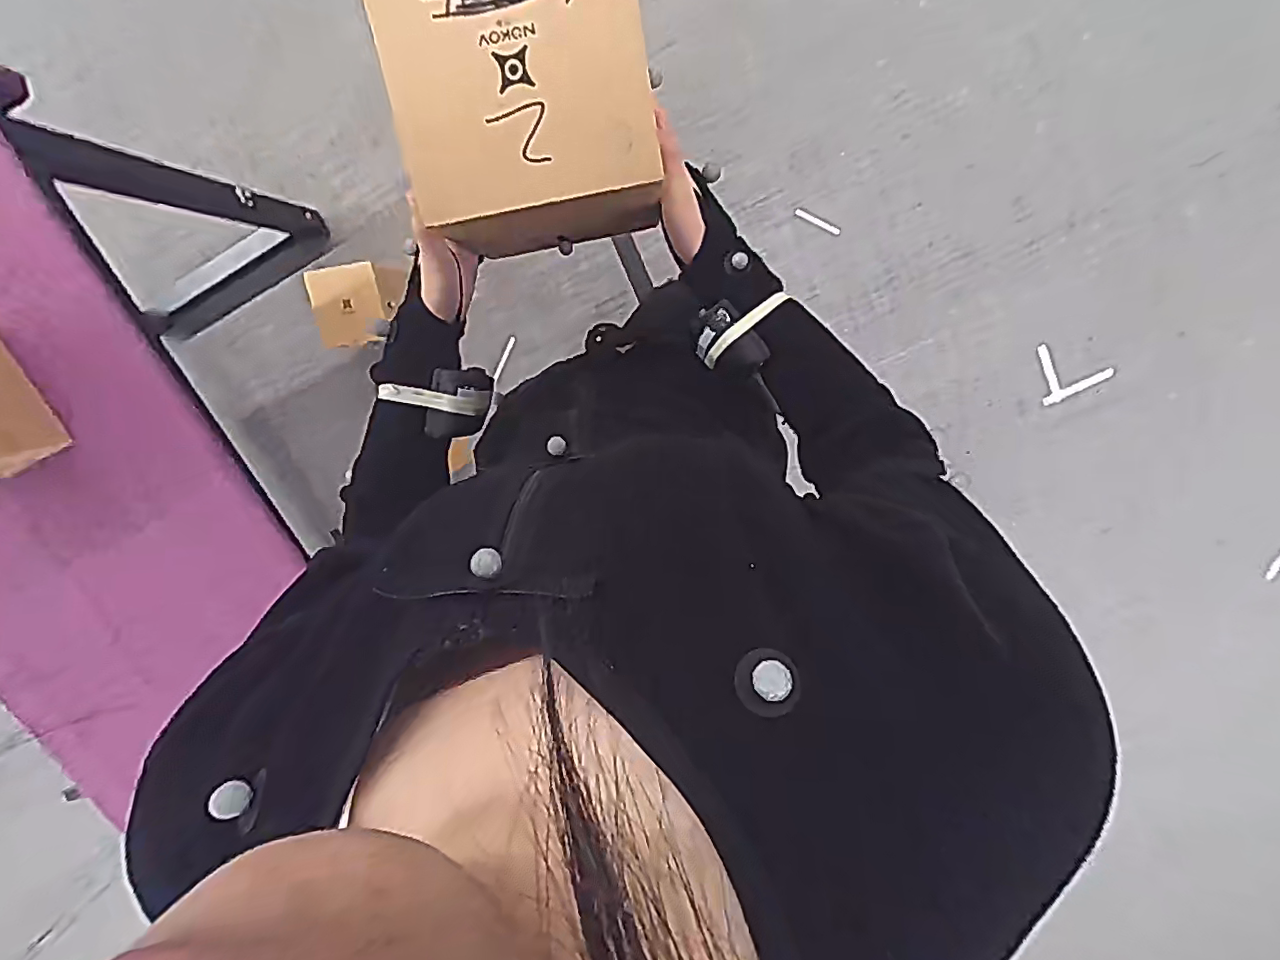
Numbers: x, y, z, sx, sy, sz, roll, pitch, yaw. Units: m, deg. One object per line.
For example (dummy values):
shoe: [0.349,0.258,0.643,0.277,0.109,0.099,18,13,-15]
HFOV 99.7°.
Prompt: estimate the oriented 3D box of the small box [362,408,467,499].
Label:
small box: [-0.579,-0.076,1.424,0.179,0.176,0.168,-22,103,9]

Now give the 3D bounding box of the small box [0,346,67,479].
small box: [-0.910,-0.077,0.676,0.168,0.176,0.179,-22,105,9]

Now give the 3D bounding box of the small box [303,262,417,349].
small box: [-0.675,-0.423,1.327,0.168,0.176,0.179,-8,107,4]
